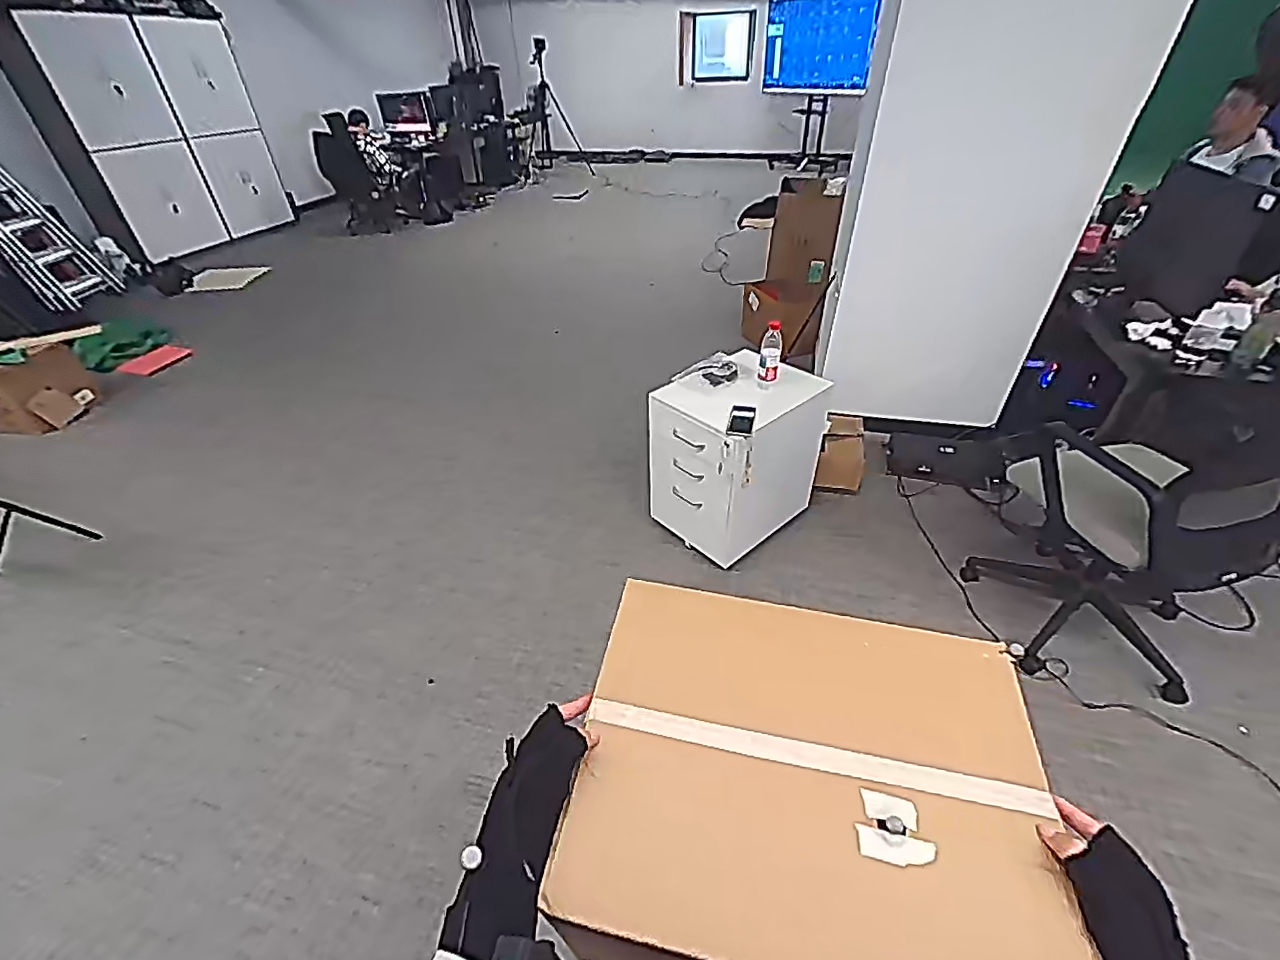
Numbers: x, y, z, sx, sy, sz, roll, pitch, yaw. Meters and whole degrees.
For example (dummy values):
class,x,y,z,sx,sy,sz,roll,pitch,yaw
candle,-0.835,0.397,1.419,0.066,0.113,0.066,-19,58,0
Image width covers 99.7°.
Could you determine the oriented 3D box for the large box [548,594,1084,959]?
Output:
class,x,y,z,sx,sy,sz,roll,pitch,yaw
large box,0.149,0.367,0.592,0.408,0.320,0.320,9,45,9
